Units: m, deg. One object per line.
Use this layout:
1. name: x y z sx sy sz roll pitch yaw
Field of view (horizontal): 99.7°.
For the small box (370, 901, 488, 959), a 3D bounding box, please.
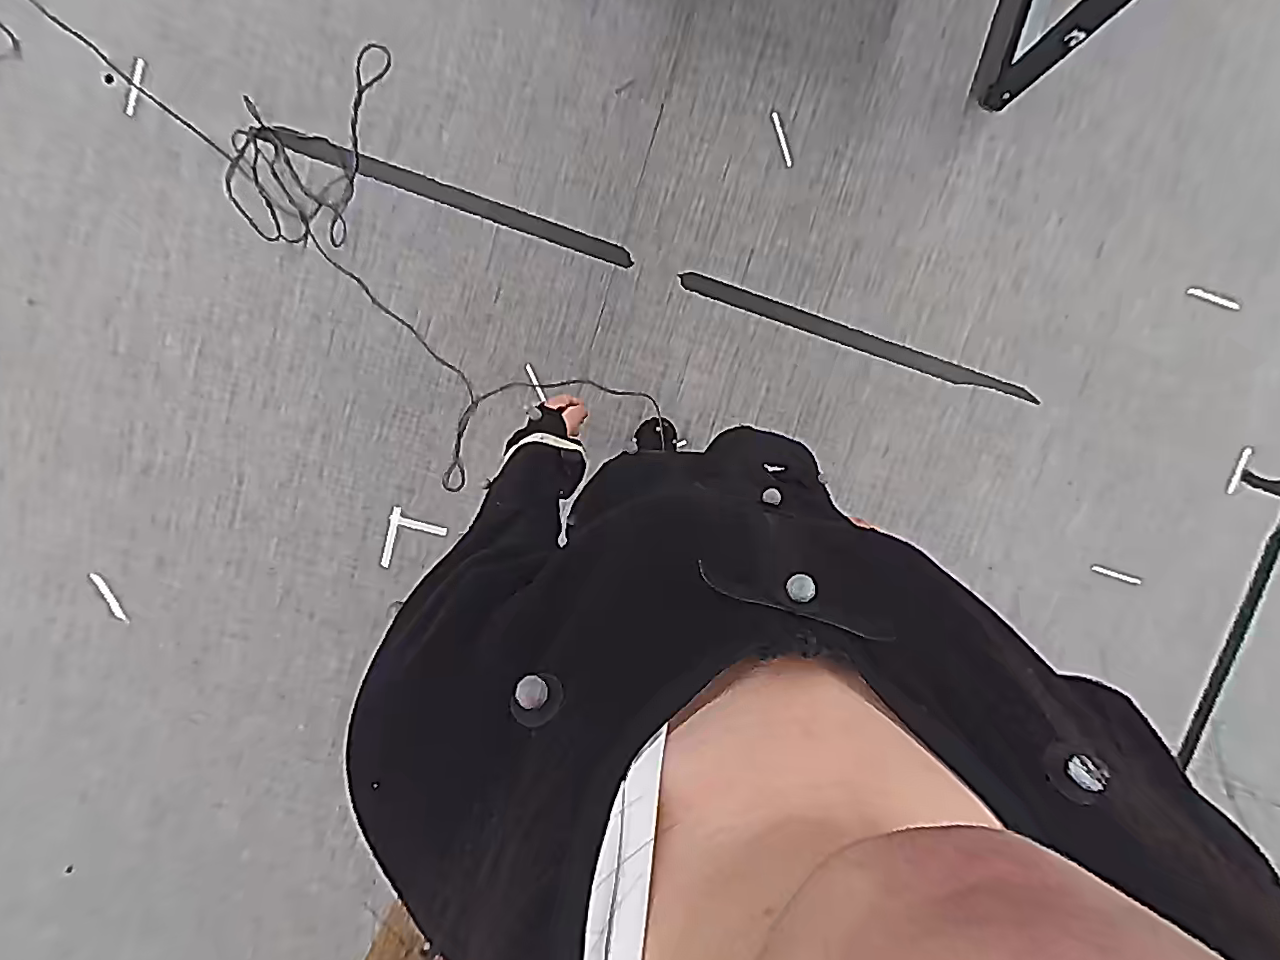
1. small box: -0.349 0.821 0.858 0.168 0.176 0.179 9 95 -1
